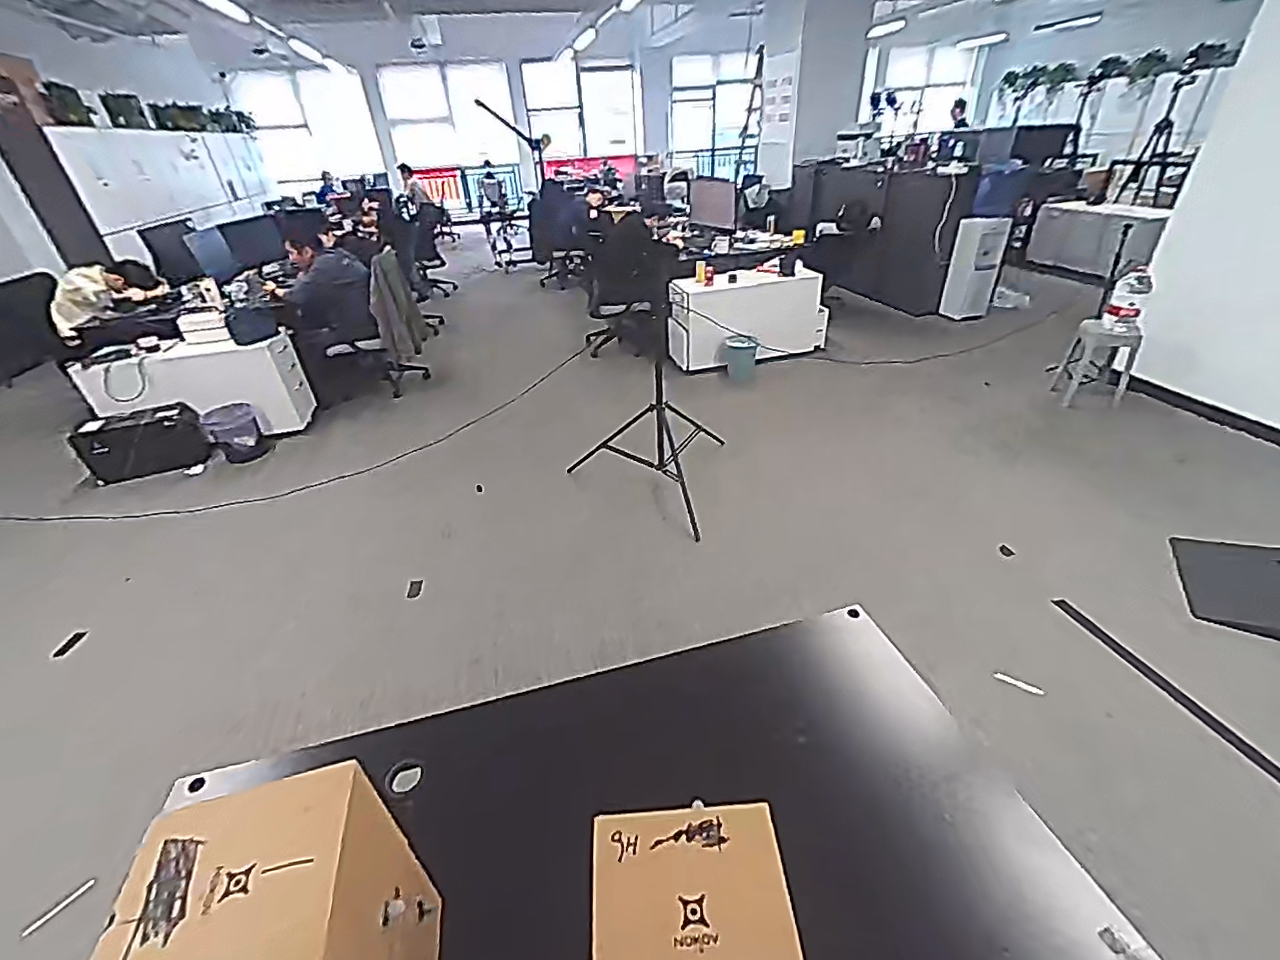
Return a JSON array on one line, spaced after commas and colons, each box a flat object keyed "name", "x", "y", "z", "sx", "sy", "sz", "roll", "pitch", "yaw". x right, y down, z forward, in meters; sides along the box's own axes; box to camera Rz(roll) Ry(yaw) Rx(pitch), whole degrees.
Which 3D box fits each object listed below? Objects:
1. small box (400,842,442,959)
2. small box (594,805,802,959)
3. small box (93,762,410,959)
[{"name": "small box", "x": -0.316, "y": 0.534, "z": 0.570, "sx": 0.168, "sy": 0.176, "sz": 0.179, "roll": -12, "pitch": 34, "yaw": -10}, {"name": "small box", "x": 0.048, "y": 0.425, "z": 0.487, "sx": 0.168, "sy": 0.176, "sz": 0.179, "roll": -4, "pitch": 38, "yaw": -1}, {"name": "small box", "x": -0.325, "y": 0.396, "z": 0.481, "sx": 0.179, "sy": 0.176, "sz": 0.168, "roll": -12, "pitch": 33, "yaw": -12}]
